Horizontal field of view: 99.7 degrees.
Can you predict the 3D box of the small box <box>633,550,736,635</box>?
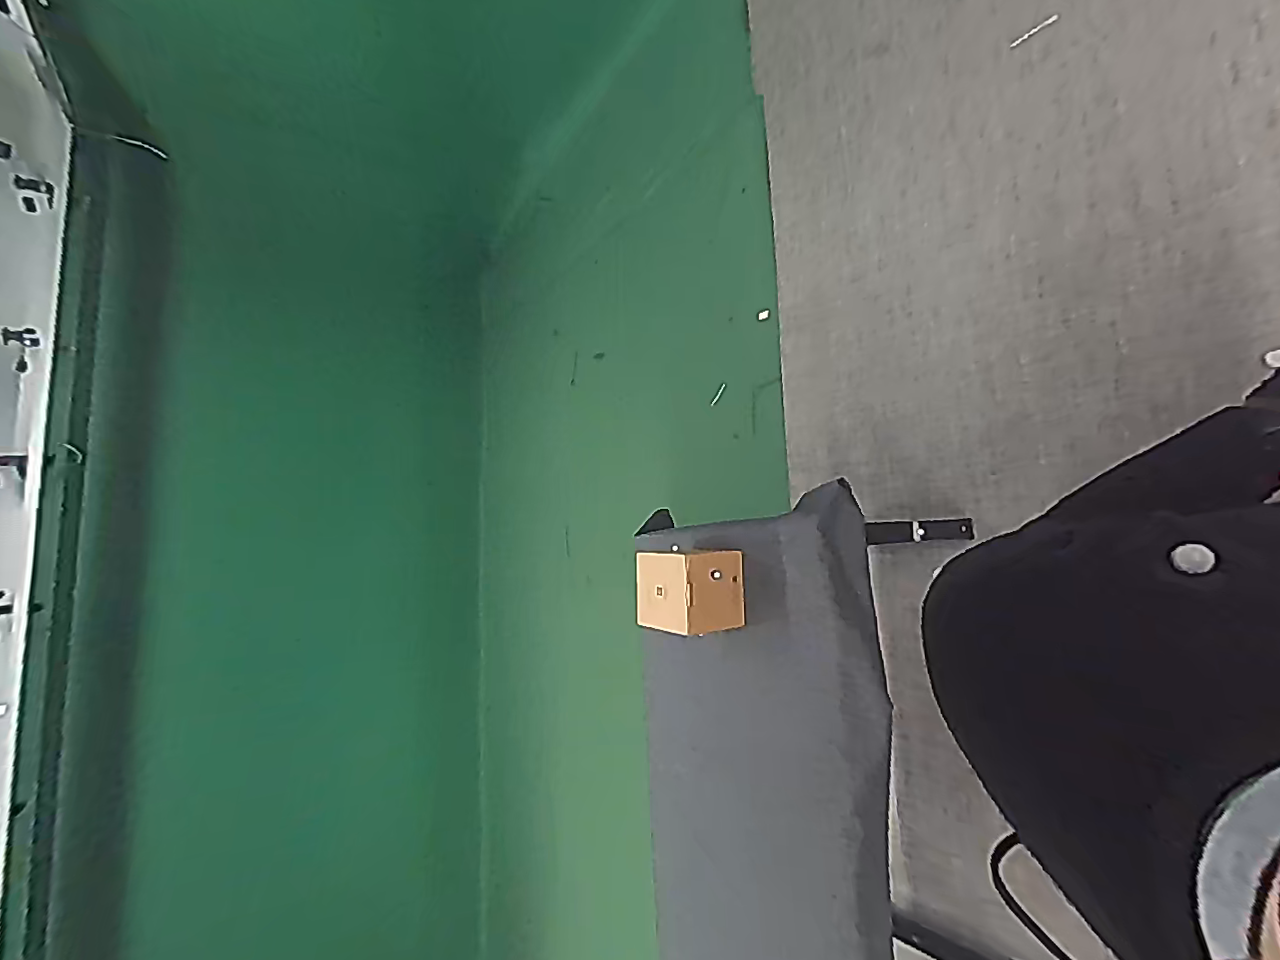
[{"bbox_3d":[0.101,0.242,1.206,0.179,0.176,0.168,-9,79,54],"label":"small box"}]
